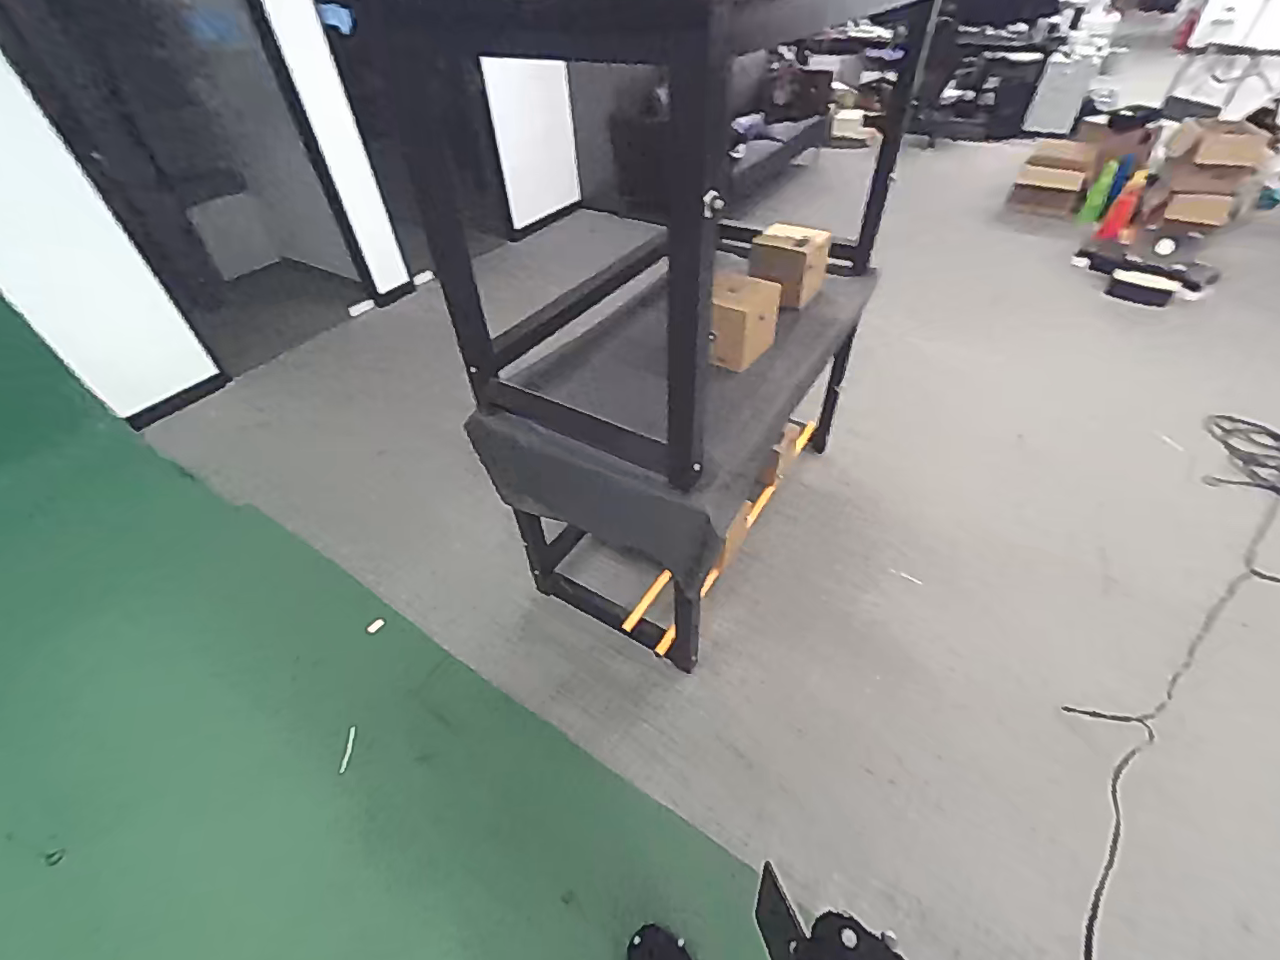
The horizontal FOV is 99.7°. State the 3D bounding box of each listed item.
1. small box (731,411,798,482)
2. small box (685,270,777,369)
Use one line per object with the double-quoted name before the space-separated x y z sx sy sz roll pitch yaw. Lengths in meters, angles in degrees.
"small box" 0.447 -0.118 1.962 0.179 0.176 0.168 26 51 26
"small box" 0.230 -0.408 1.377 0.168 0.176 0.179 26 51 26
